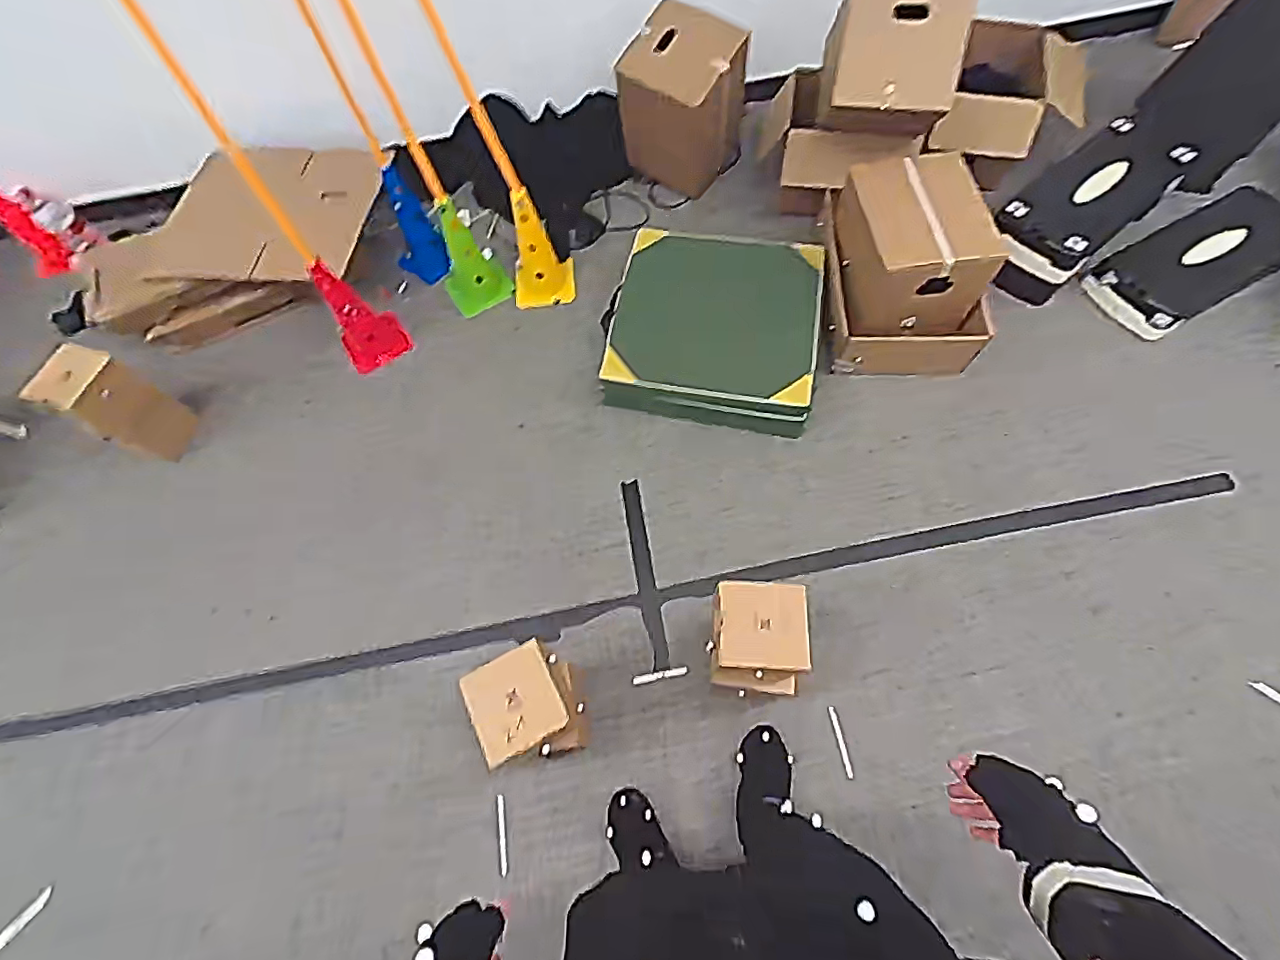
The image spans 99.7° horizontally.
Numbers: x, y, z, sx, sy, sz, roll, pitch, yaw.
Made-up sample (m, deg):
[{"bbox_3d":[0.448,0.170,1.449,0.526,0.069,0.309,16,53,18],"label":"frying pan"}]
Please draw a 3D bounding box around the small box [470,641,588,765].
[{"bbox_3d":[-0.222,0.453,1.106,0.168,0.176,0.179,-25,68,-5],"label":"small box"}]

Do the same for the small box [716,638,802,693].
[{"bbox_3d":[0.274,0.403,1.272,0.179,0.176,0.168,4,66,5],"label":"small box"}]

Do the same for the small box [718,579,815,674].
[{"bbox_3d":[0.256,0.312,1.133,0.179,0.176,0.168,2,67,4],"label":"small box"}]

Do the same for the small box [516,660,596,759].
[{"bbox_3d":[-0.203,0.530,1.251,0.168,0.176,0.179,-13,65,-1],"label":"small box"}]
